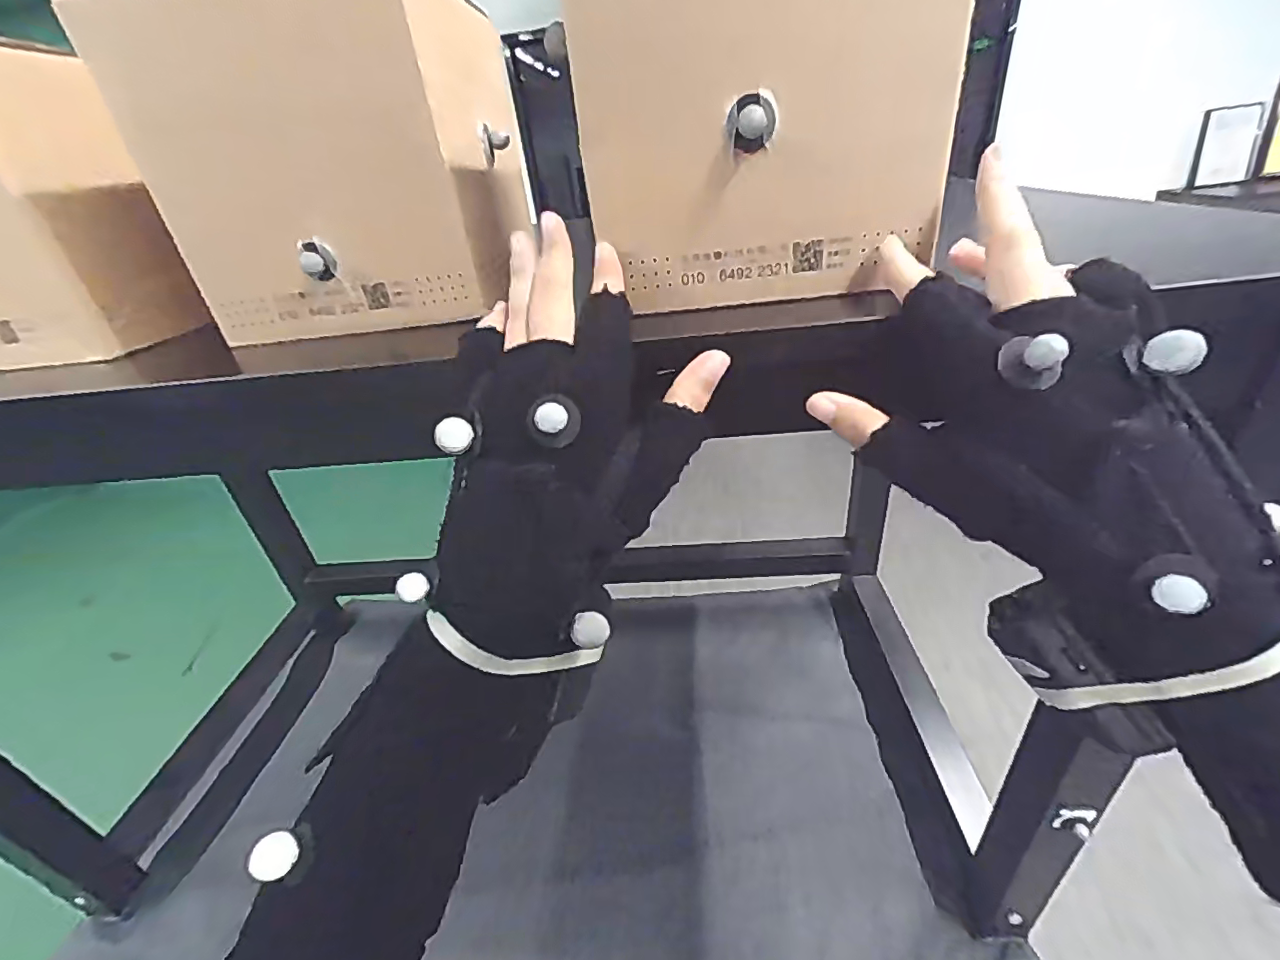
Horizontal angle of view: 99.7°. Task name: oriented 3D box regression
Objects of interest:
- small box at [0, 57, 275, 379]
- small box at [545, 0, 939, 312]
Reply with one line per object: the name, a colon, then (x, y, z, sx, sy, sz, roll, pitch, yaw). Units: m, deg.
small box: (-0.413, -0.176, 0.386, 0.168, 0.176, 0.179, -4, 30, 8)
small box: (0.056, -0.201, 0.314, 0.168, 0.176, 0.179, -3, 31, 7)
